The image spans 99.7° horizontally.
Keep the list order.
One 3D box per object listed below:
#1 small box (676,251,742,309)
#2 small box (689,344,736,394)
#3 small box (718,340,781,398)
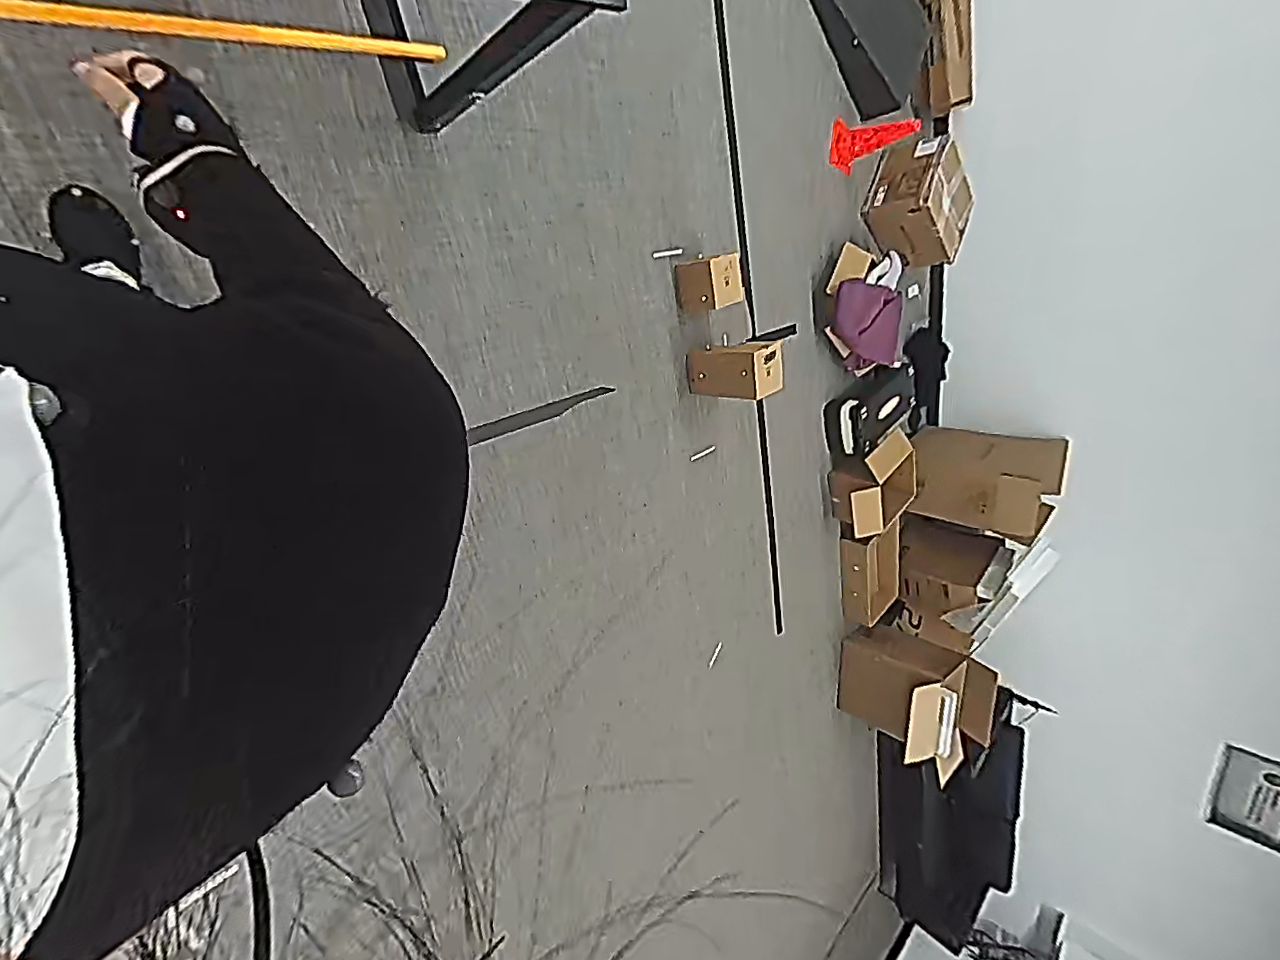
[{"bbox_3d":[0.256,-0.742,2.020,0.168,0.176,0.179,-29,118,-35],"label":"small box"},{"bbox_3d":[0.307,-0.441,2.141,0.179,0.176,0.168,-25,116,-35],"label":"small box"},{"bbox_3d":[0.404,-0.415,2.008,0.168,0.176,0.179,-27,118,-35],"label":"small box"}]
